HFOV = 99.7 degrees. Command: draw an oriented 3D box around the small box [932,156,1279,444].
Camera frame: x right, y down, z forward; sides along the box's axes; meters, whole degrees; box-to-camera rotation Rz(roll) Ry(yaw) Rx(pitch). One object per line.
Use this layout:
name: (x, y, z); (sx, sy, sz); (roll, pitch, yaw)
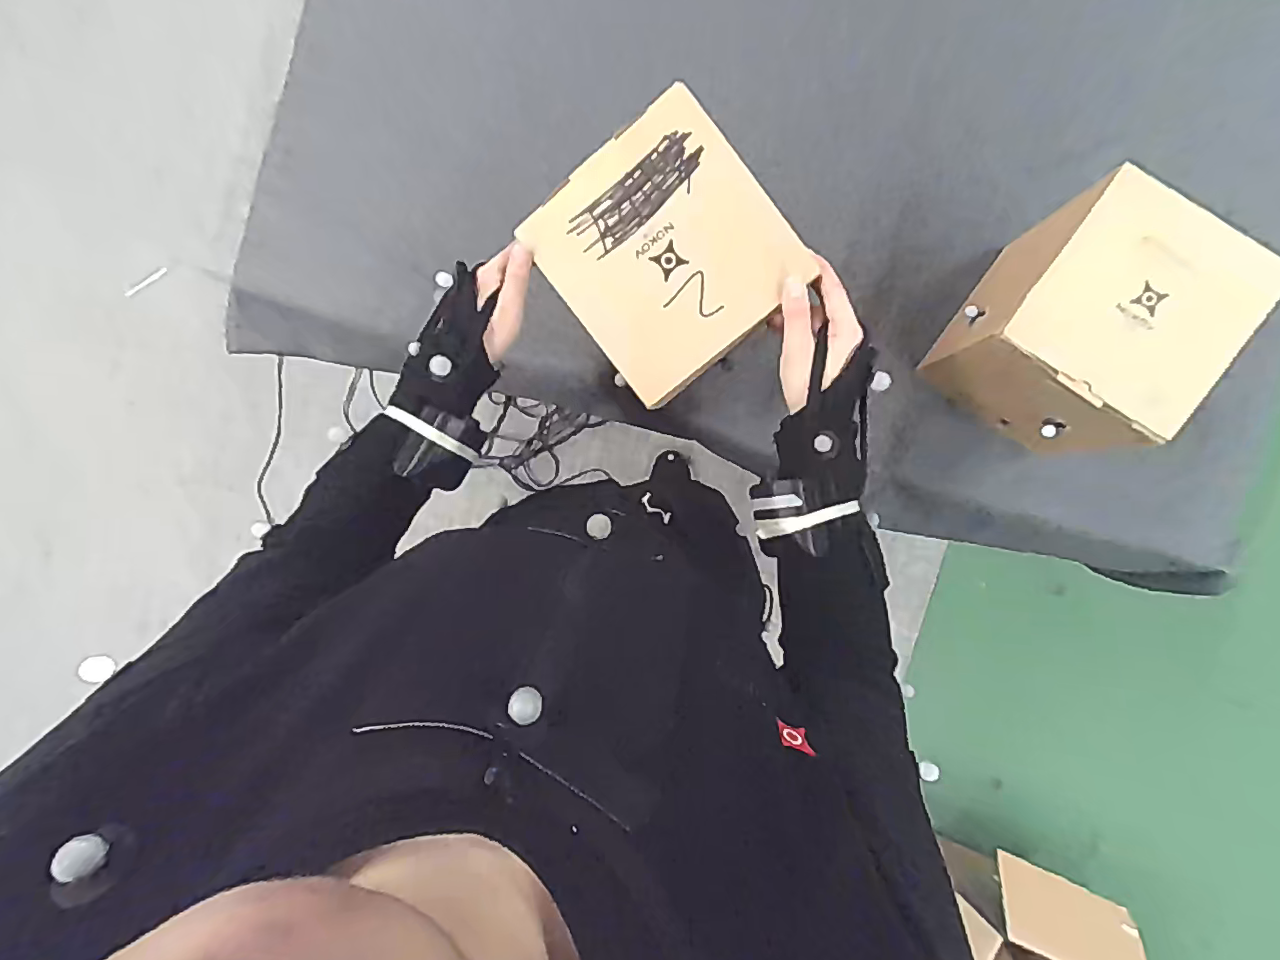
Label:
small box: (0.420, -0.149, 0.519); (0.168, 0.176, 0.179); (35, 91, 2)
